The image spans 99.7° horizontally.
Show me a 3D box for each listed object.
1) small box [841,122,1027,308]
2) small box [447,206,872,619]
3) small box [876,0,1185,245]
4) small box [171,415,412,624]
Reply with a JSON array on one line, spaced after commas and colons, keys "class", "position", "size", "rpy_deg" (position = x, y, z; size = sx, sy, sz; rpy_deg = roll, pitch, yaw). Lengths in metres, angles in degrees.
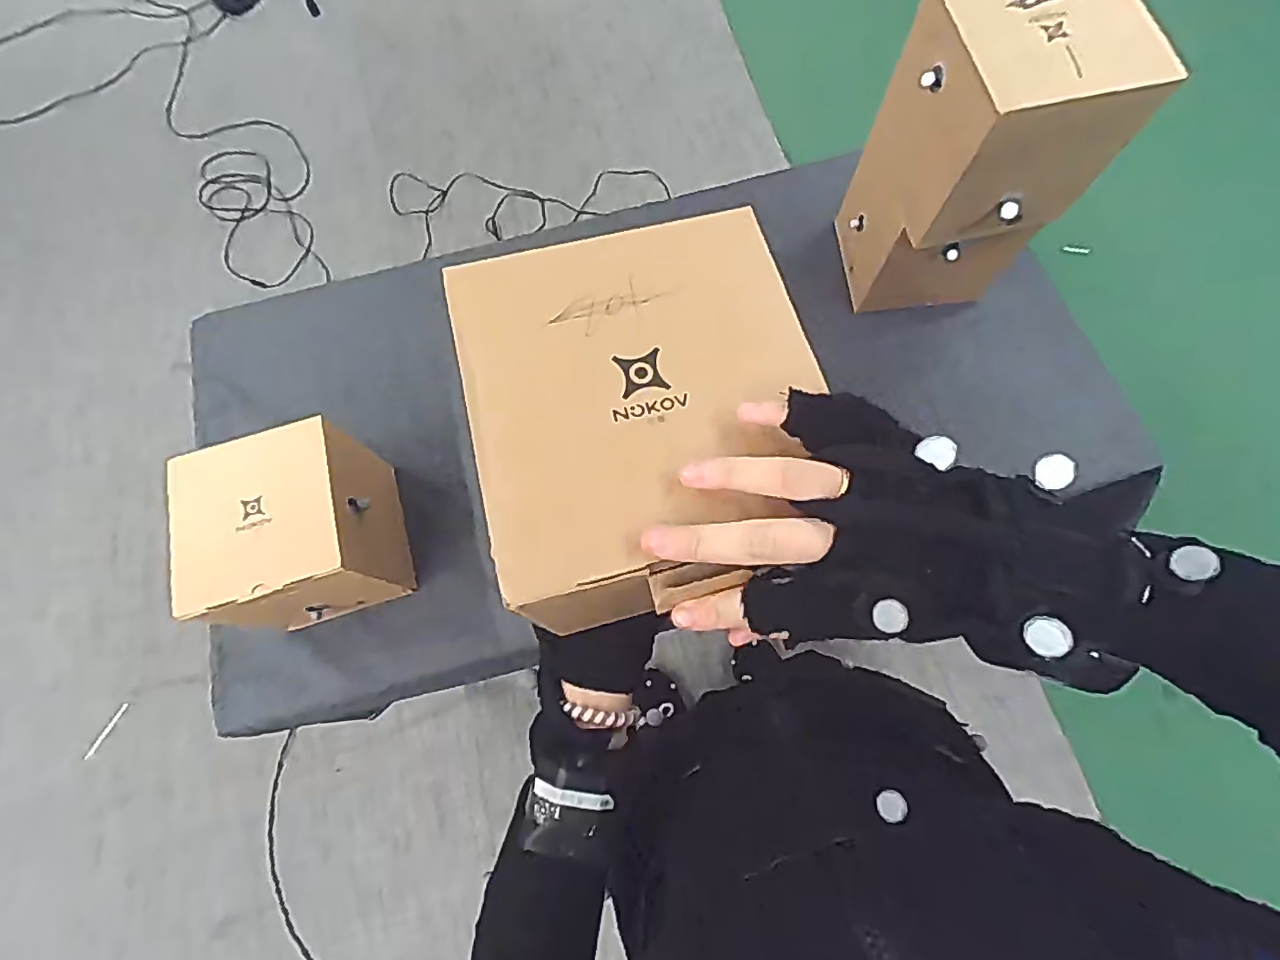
[{"class": "small box", "position": [0.382, -0.347, 0.718], "size": [0.179, 0.176, 0.168], "rpy_deg": [-4, 73, 1]}, {"class": "small box", "position": [0.002, -0.021, 0.326], "size": [0.168, 0.176, 0.179], "rpy_deg": [-13, 71, -6]}, {"class": "small box", "position": [0.369, -0.378, 0.556], "size": [0.168, 0.176, 0.179], "rpy_deg": [-10, 73, 0]}, {"class": "small box", "position": [-0.386, 0.055, 0.622], "size": [0.168, 0.176, 0.179], "rpy_deg": [-17, 72, -4]}]
